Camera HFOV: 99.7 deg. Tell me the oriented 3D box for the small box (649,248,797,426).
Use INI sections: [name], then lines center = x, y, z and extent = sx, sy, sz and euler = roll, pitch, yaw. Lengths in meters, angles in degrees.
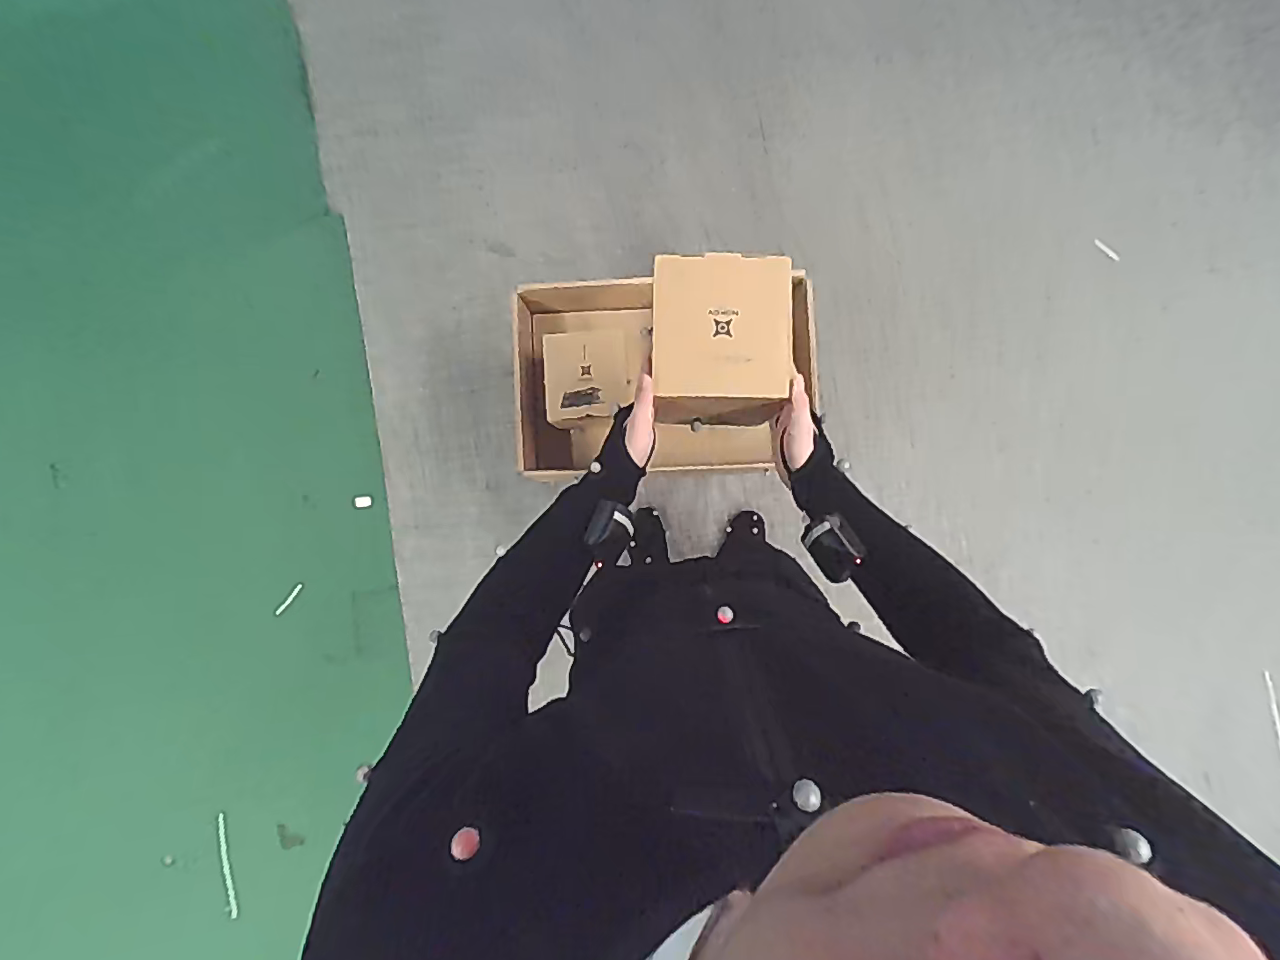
[small box]
center = 0.098, -0.175, 0.702
extent = 0.168, 0.176, 0.179
euler = 1, 84, 0
